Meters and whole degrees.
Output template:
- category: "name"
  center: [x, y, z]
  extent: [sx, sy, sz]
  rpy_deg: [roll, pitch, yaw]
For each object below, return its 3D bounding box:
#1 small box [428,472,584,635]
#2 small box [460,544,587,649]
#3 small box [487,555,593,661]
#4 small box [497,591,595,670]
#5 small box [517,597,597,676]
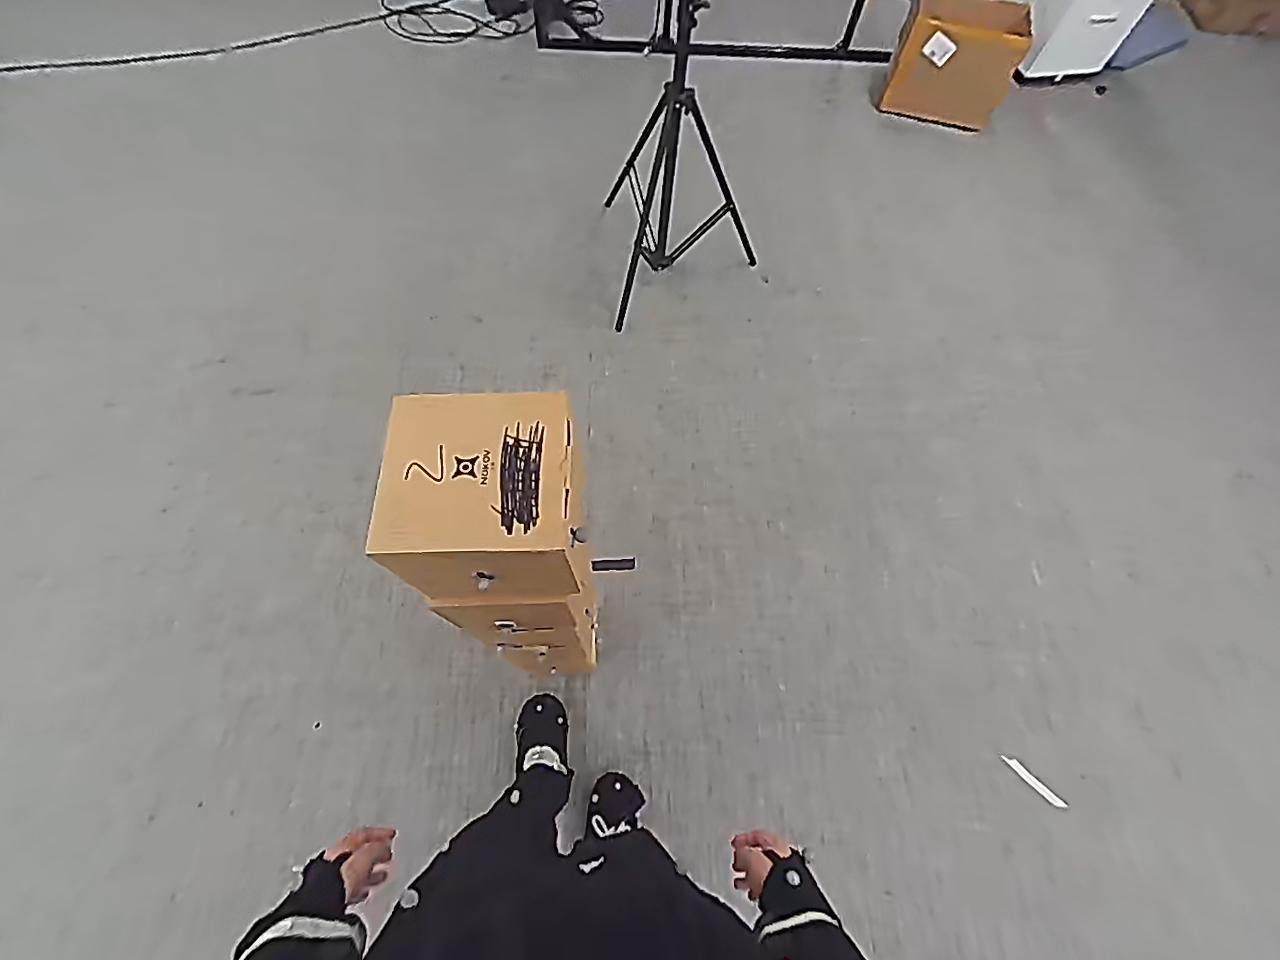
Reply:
- category: "small box"
  center: [-0.163, 0.103, 0.718]
  extent: [0.168, 0.176, 0.179]
  rpy_deg: [-1, 66, -2]
- category: "small box"
  center: [-0.173, 0.171, 0.864]
  extent: [0.168, 0.176, 0.179]
  rpy_deg: [1, 64, -2]
- category: "small box"
  center: [-0.177, 0.242, 1.012]
  extent: [0.168, 0.176, 0.179]
  rpy_deg: [1, 66, -2]
- category: "small box"
  center: [-0.193, 0.314, 1.159]
  extent: [0.179, 0.176, 0.168]
  rpy_deg: [2, 66, -2]
- category: "small box"
  center: [-0.193, 0.380, 1.309]
  extent: [0.179, 0.176, 0.168]
  rpy_deg: [0, 65, -3]
